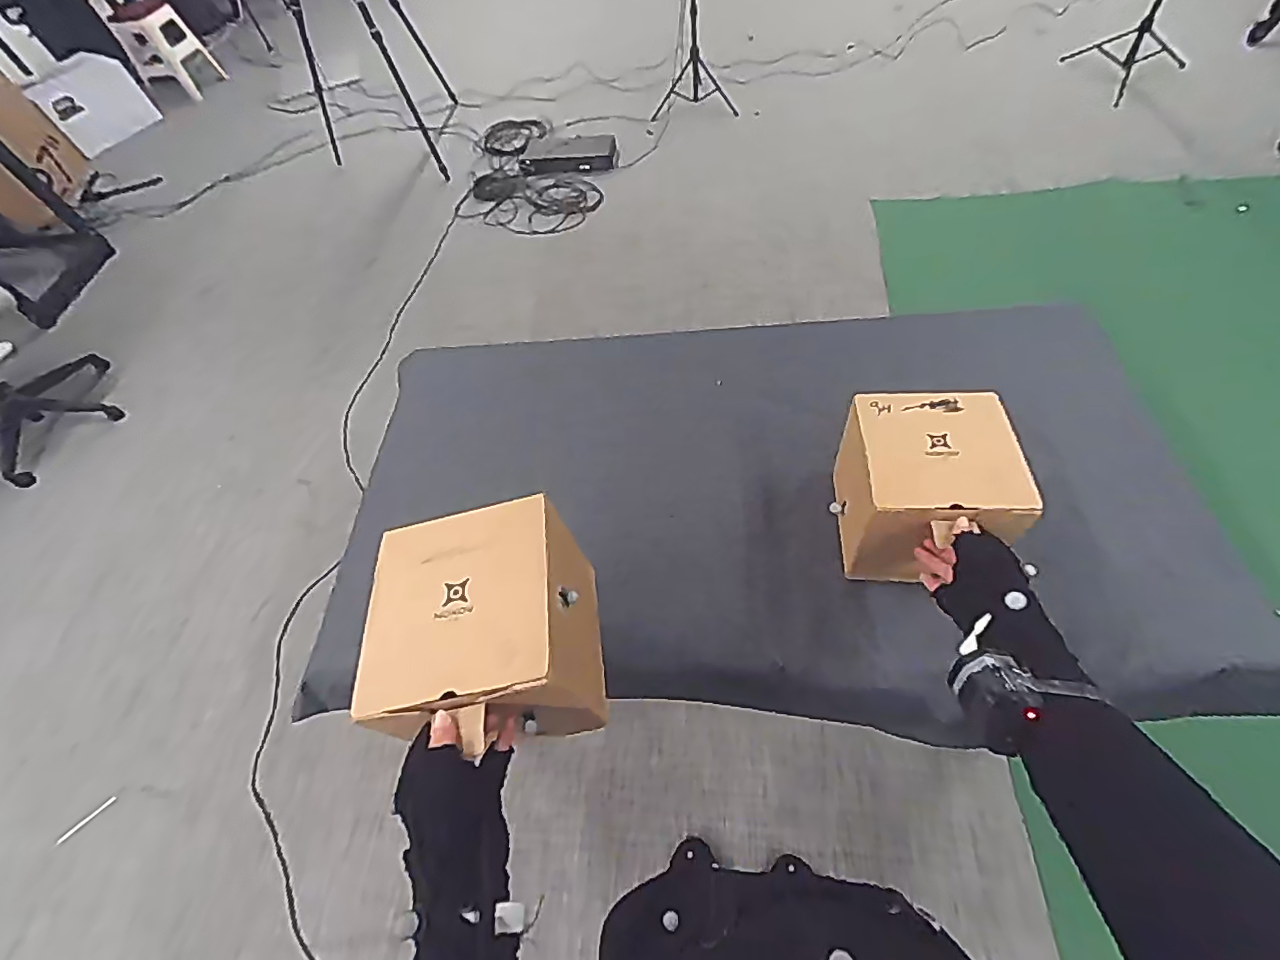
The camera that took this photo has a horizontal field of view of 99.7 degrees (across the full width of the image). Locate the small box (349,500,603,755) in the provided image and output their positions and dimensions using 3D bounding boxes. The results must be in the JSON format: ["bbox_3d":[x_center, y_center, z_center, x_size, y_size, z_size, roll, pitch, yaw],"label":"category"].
[{"bbox_3d":[-0.138,0.150,0.519,0.168,0.176,0.179,-13,51,4],"label":"small box"}]
